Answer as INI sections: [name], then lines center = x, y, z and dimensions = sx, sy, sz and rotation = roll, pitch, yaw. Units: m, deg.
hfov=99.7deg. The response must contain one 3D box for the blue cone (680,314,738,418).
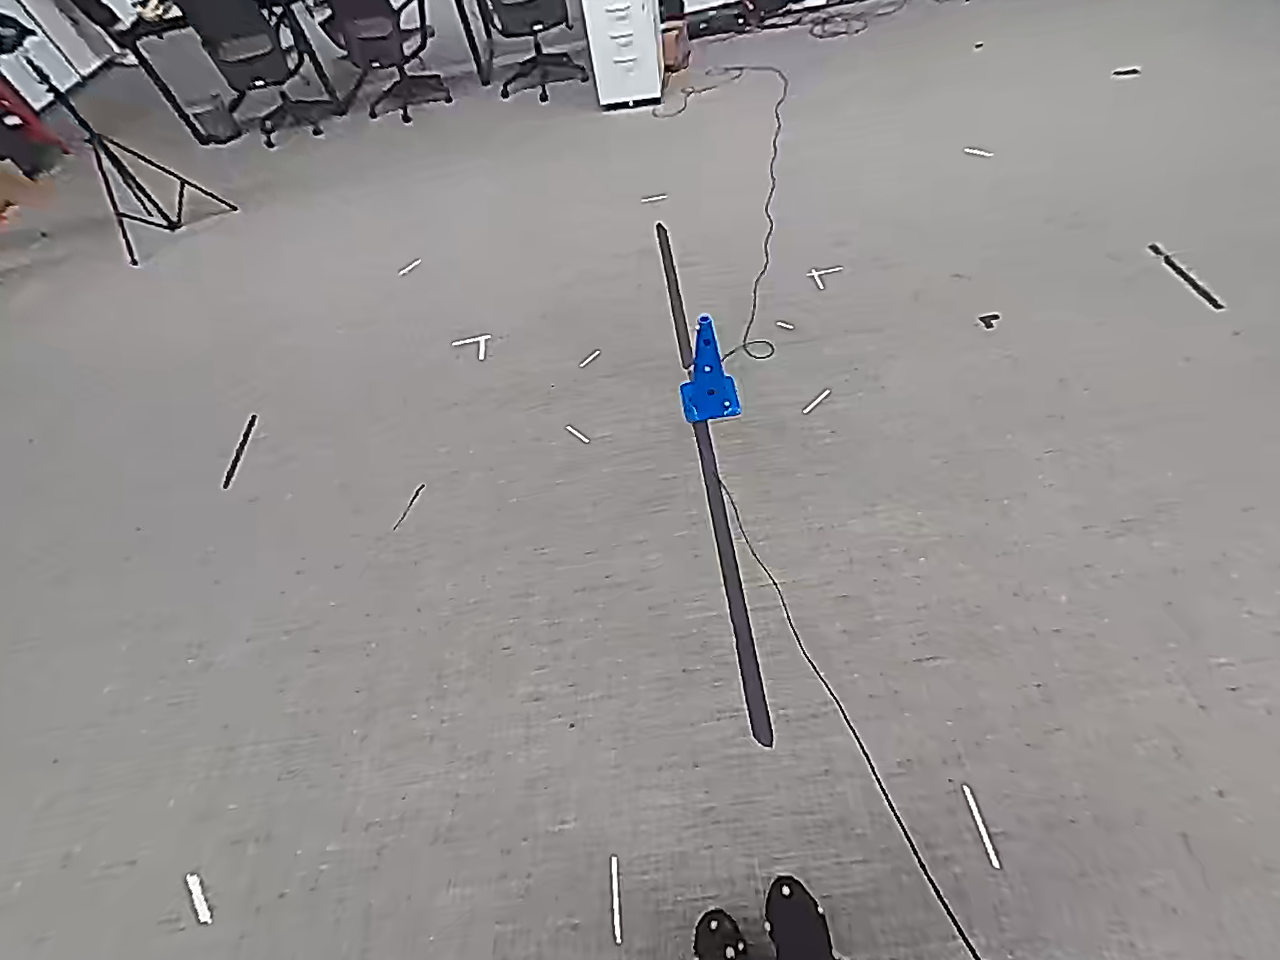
[blue cone]
center = 0.226, -0.402, 1.830
dimensions = 0.193, 0.380, 0.192
rotation = -10, 53, 2
